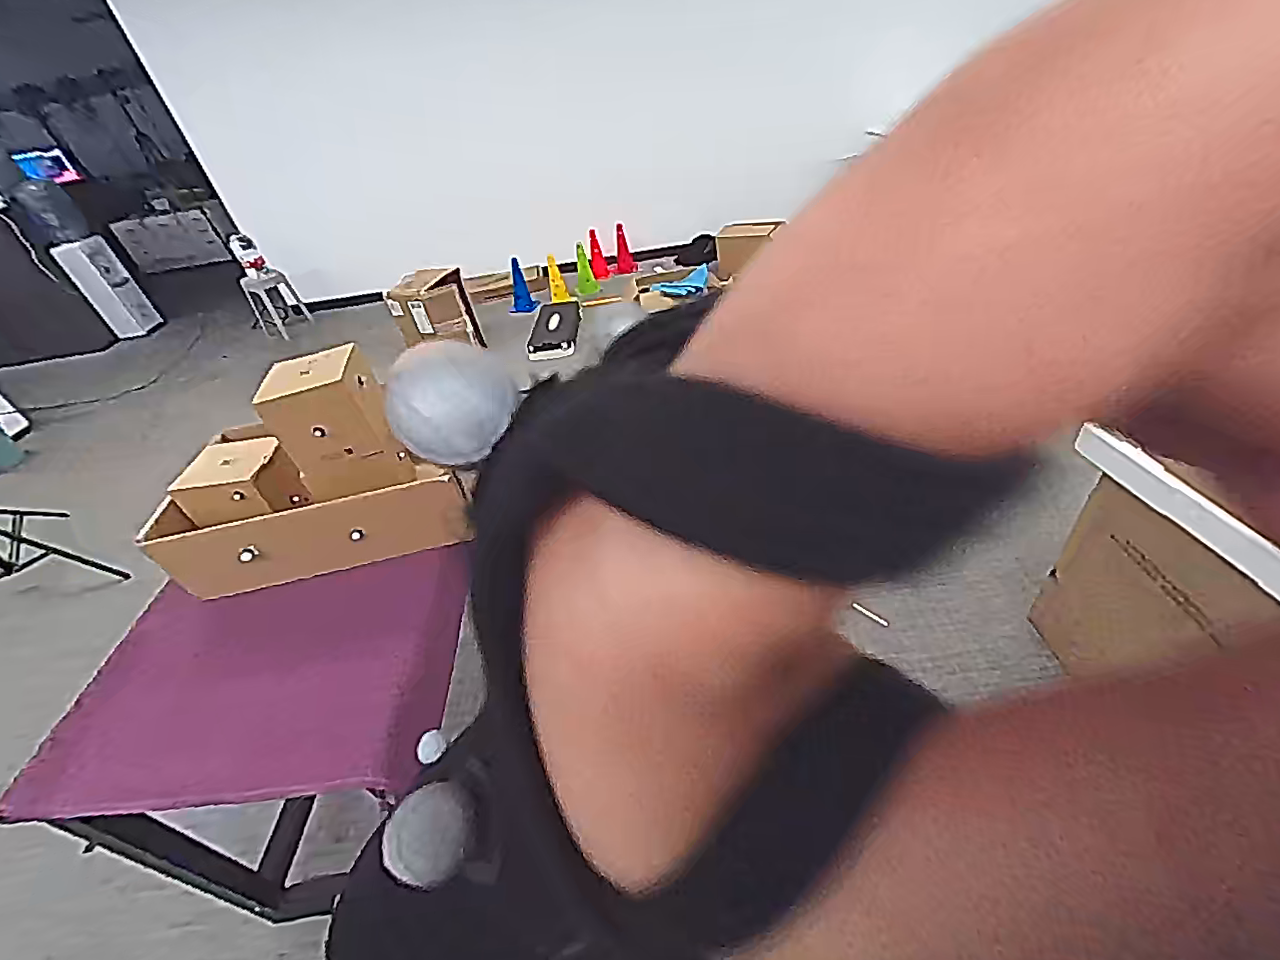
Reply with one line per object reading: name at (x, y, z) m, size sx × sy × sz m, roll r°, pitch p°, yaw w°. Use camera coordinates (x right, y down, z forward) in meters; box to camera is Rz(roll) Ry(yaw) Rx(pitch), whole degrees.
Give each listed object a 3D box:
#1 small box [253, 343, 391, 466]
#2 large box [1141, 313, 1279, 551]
small box at (-0.624, -0.147, 1.090) m, size 0.168 × 0.176 × 0.179 m, roll -17°, pitch 39°, yaw -5°
large box at (1.268, -0.081, 0.968) m, size 0.320 × 0.320 × 0.408 m, roll -10°, pitch 37°, yaw 0°
